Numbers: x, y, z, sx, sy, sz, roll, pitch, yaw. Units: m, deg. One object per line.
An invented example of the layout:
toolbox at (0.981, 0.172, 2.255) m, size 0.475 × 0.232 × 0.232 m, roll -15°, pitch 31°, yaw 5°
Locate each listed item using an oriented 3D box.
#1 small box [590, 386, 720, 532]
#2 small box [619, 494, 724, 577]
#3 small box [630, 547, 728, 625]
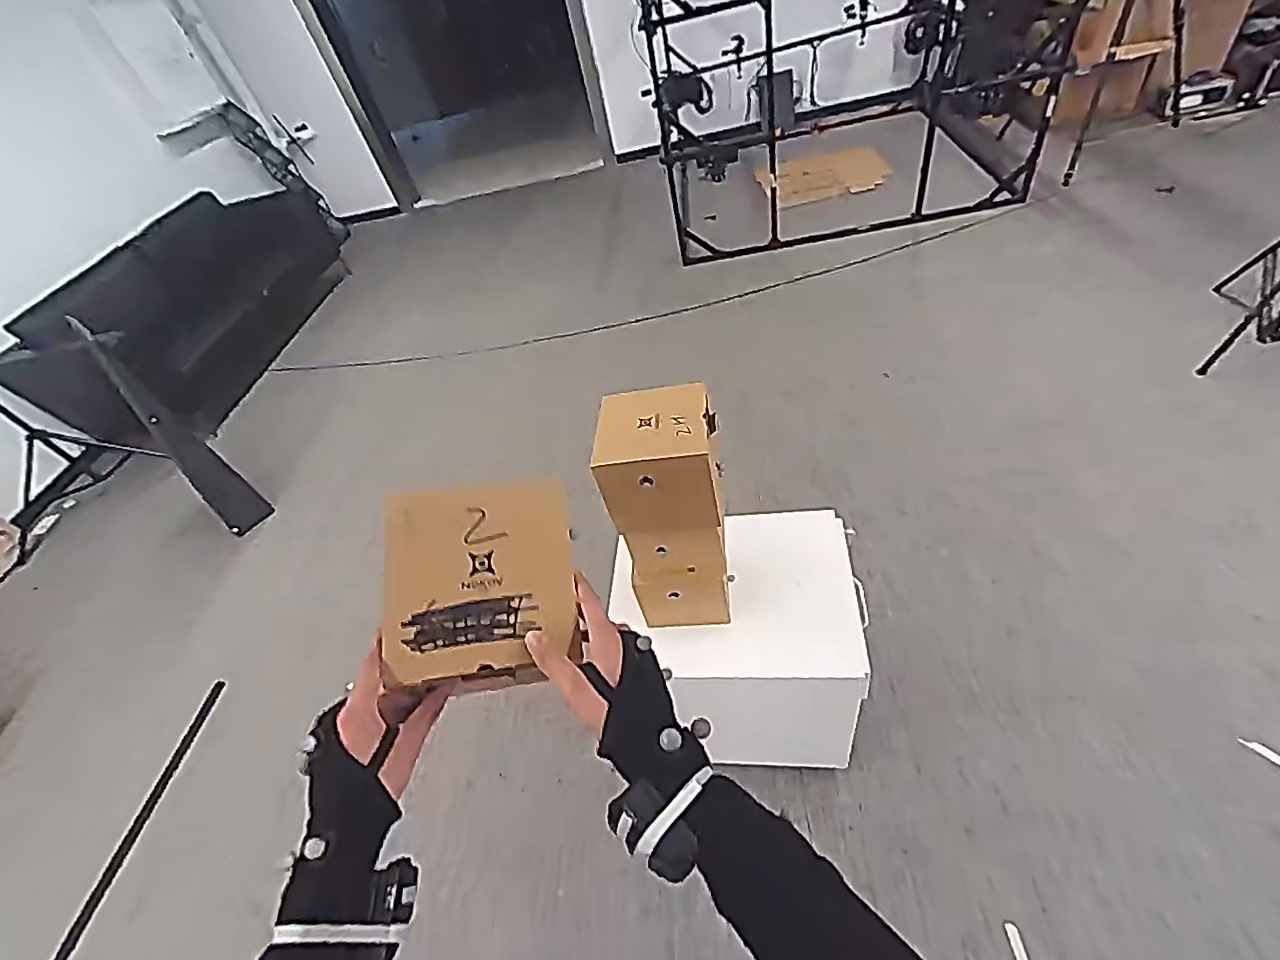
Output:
small box at (0.033, -0.028, 0.884) m, size 0.179 × 0.176 × 0.168 m, roll -5°, pitch 47°, yaw 11°
small box at (0.066, 0.070, 1.014) m, size 0.168 × 0.176 × 0.179 m, roll -5°, pitch 46°, yaw 11°
small box at (0.086, 0.190, 1.122) m, size 0.179 × 0.176 × 0.168 m, roll -5°, pitch 47°, yaw 10°
